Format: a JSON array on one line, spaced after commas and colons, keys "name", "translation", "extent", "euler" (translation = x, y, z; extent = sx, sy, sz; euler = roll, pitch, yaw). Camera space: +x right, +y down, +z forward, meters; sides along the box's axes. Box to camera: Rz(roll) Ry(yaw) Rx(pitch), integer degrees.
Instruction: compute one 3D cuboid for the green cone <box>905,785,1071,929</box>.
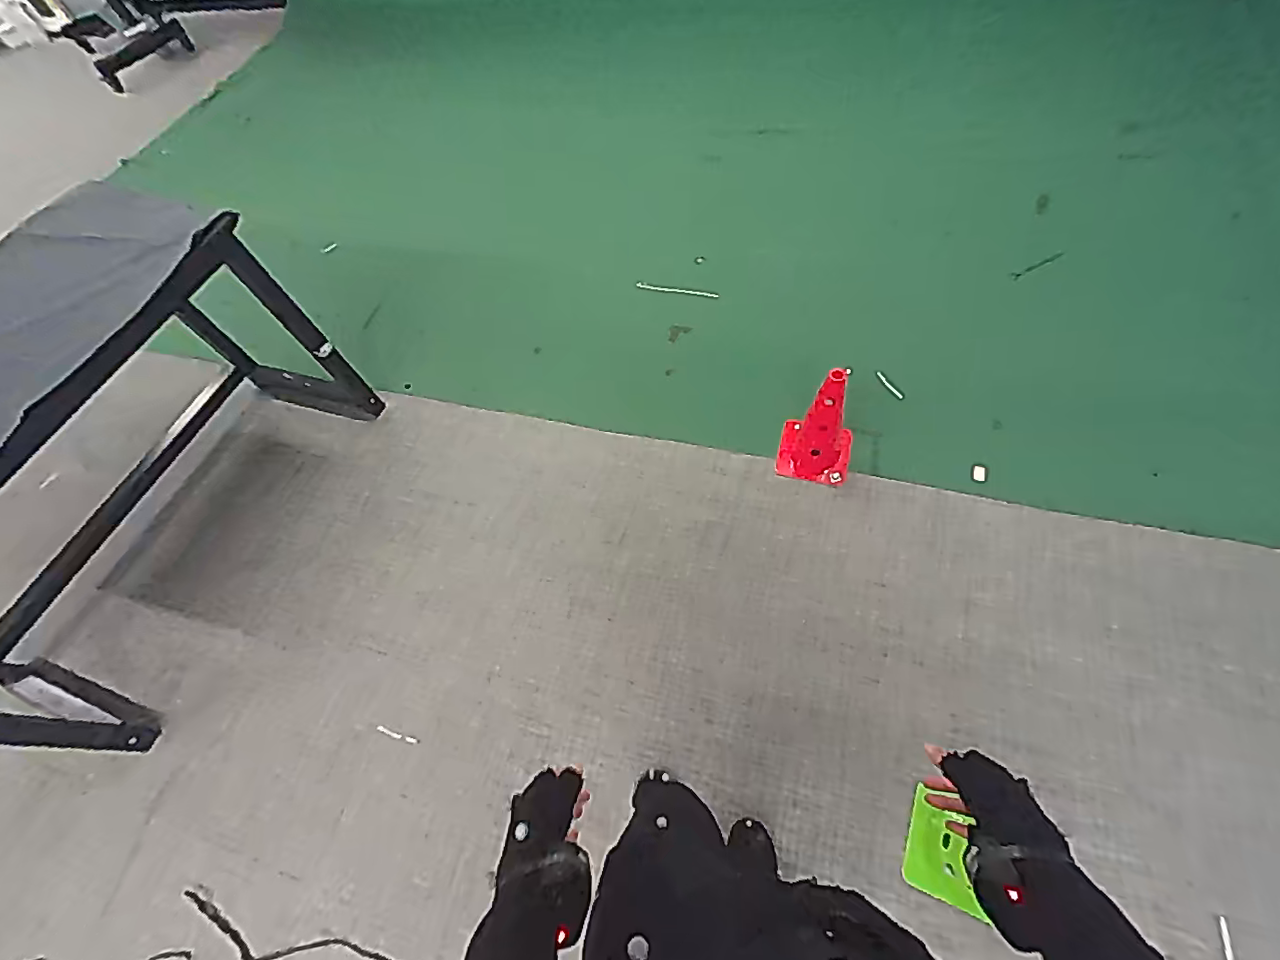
[{"name": "green cone", "translation": [0.639, 0.680, 0.959], "extent": [0.200, 0.368, 0.202], "euler": [17, 64, 17]}]
